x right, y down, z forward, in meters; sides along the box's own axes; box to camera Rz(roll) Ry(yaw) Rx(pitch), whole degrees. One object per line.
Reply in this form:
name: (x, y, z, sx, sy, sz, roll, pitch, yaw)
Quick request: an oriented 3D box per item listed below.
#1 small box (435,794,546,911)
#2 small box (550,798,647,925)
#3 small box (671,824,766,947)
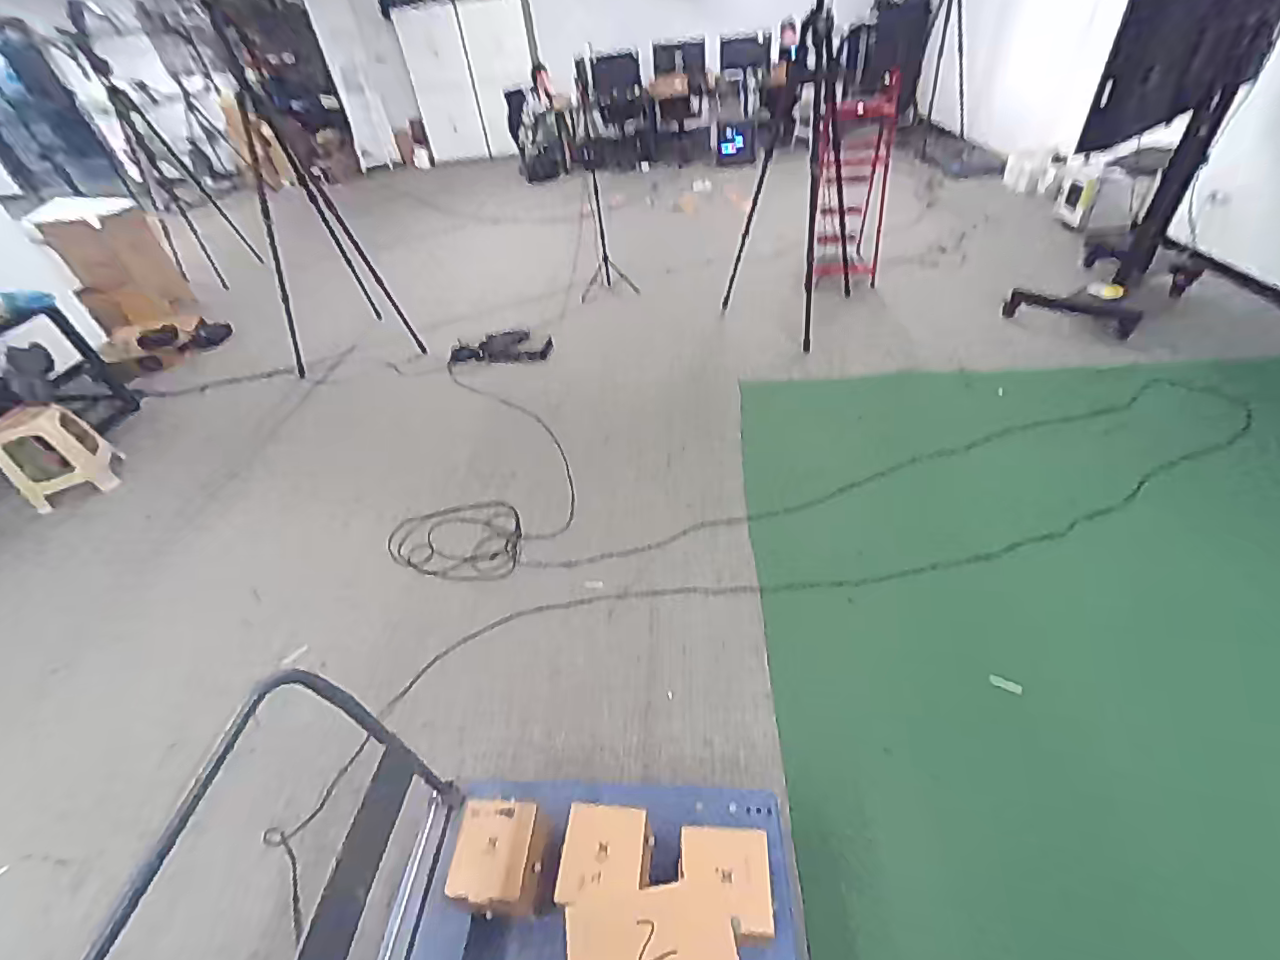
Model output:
small box: (-0.314, 0.815, 1.180, 0.168, 0.176, 0.179, 0, 42, 8)
small box: (-0.079, 0.812, 1.152, 0.168, 0.176, 0.179, 1, 42, 9)
small box: (0.161, 0.827, 1.101, 0.179, 0.176, 0.168, -1, 42, 8)
